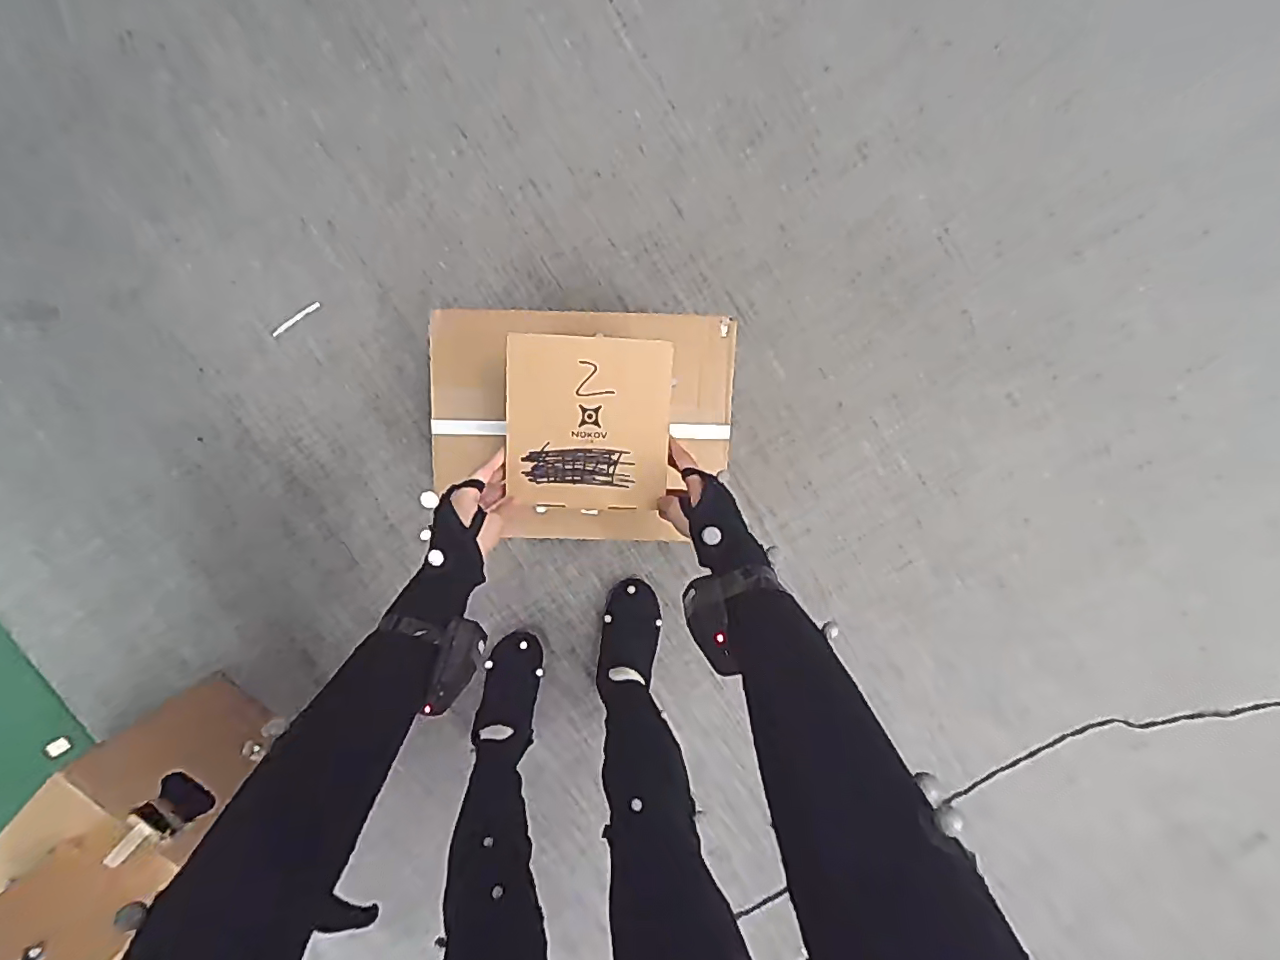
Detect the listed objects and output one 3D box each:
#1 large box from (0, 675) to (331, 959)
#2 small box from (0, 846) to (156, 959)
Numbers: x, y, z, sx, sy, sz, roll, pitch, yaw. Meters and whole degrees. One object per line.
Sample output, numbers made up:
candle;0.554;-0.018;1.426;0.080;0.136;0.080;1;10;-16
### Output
large box;-0.881;0.653;0.990;0.320;0.320;0.408;43;97;-4
small box;-0.844;0.663;0.745;0.179;0.176;0.168;44;95;-5
